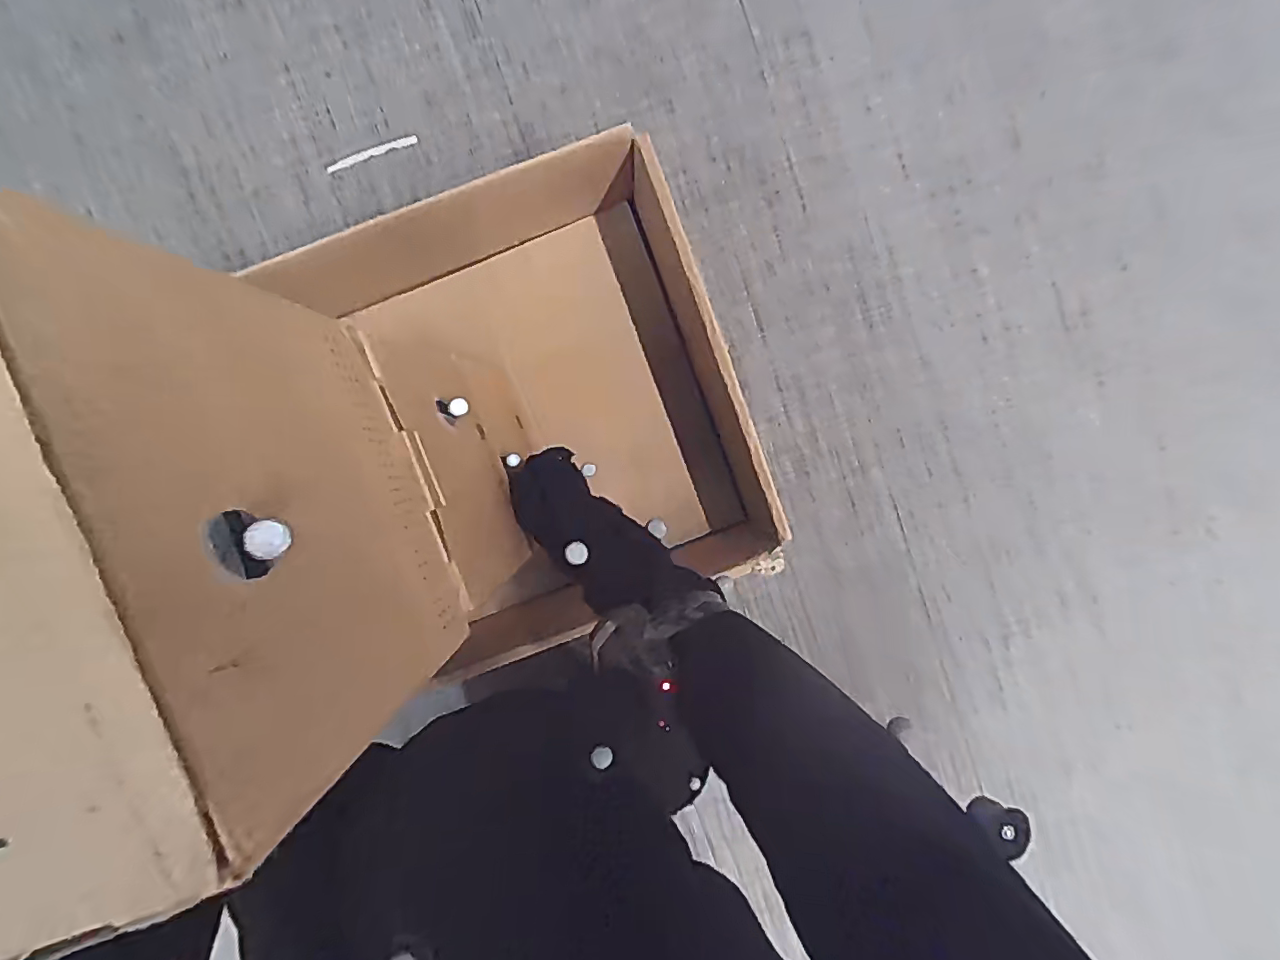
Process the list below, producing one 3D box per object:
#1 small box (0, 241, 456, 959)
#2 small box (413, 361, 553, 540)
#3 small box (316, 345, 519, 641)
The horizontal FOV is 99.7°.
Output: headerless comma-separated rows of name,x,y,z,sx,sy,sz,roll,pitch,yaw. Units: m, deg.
small box,-0.196,0.042,0.208,0.168,0.176,0.179,-21,92,1
small box,-0.205,0.003,0.534,0.179,0.176,0.168,-22,92,1
small box,-0.194,0.032,0.355,0.179,0.176,0.168,-24,94,0
